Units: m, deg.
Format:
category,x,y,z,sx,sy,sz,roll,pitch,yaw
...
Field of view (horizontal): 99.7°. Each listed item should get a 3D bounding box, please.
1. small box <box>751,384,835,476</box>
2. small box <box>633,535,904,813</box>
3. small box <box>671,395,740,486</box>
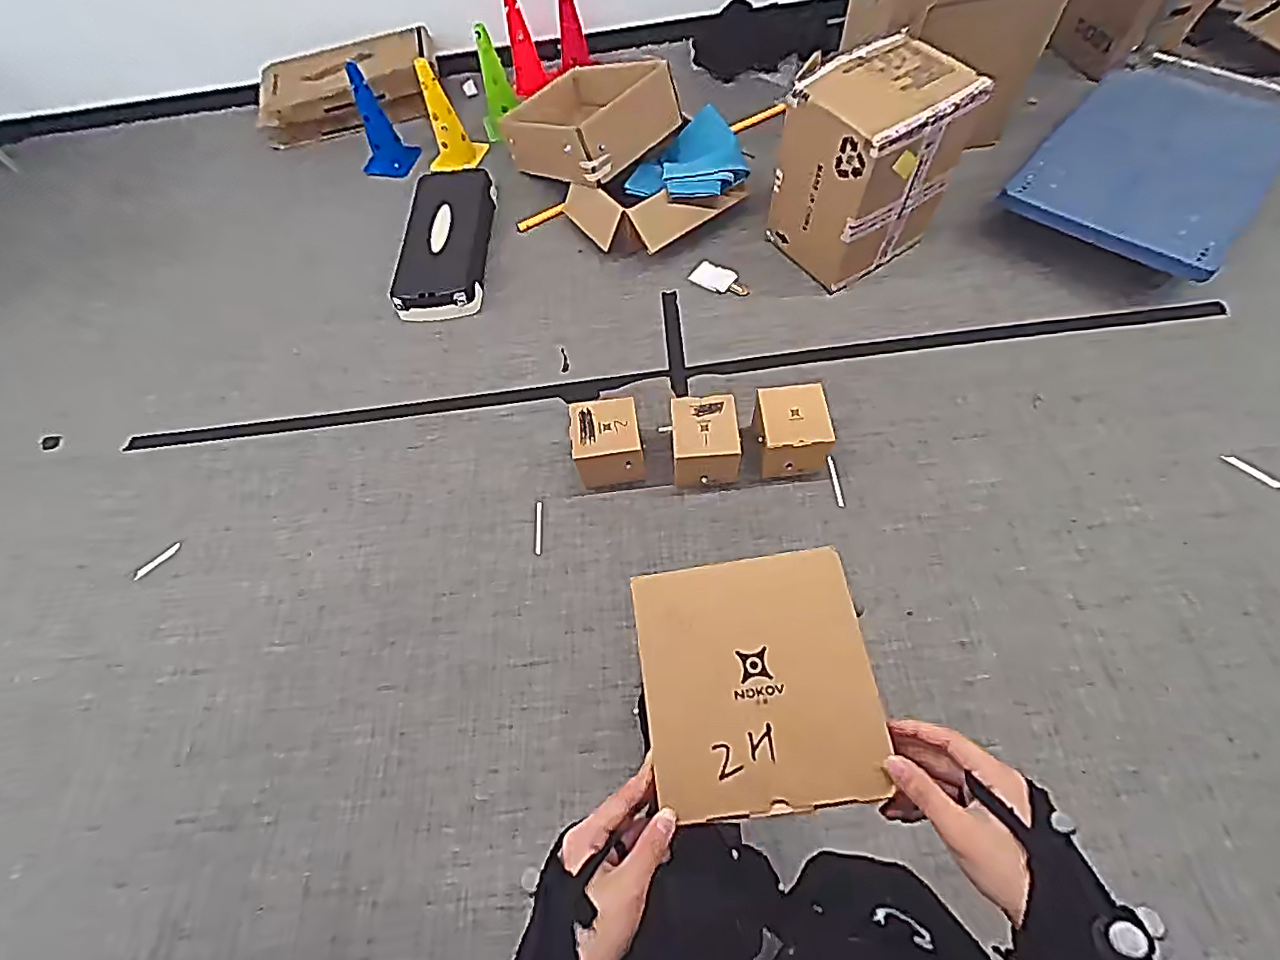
category,x,y,z,sx,sy,sz,roll,pitch,yaw
small box,0.392,-0.128,1.420,0.168,0.176,0.179,-5,63,2
small box,0.092,0.162,0.462,0.168,0.176,0.179,-10,68,5
small box,0.167,-0.101,1.424,0.168,0.176,0.179,-4,64,4
